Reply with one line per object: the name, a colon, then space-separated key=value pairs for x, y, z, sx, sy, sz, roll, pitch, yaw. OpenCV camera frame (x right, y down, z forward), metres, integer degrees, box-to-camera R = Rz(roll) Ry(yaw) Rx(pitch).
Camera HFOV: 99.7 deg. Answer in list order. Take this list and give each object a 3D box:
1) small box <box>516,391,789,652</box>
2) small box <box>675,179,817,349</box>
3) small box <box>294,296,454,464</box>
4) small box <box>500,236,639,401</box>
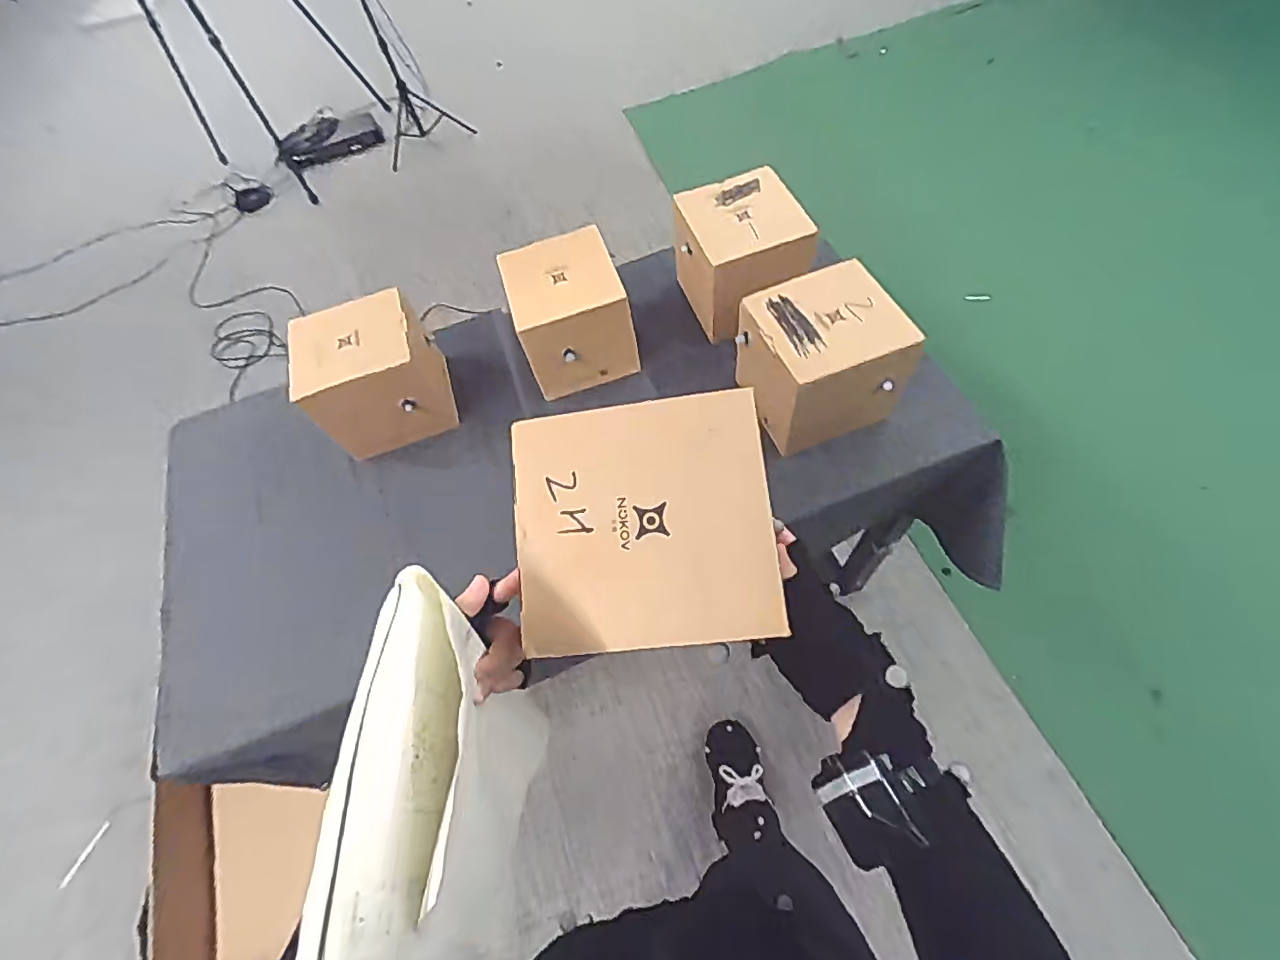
small box: x=0.014 y=0.042 z=0.445 sx=0.179 sy=0.176 sz=0.168 roll=-8 pitch=77 yaw=8
small box: x=0.164 y=-0.349 z=0.887 sx=0.168 sy=0.176 sz=0.179 roll=-19 pitch=60 yaw=-3
small box: x=-0.409 y=-0.152 z=0.855 sx=0.179 sy=0.176 sz=0.168 roll=-19 pitch=60 yaw=-4
small box: x=-0.108 y=-0.249 z=0.873 sx=0.168 sy=0.176 sz=0.179 roll=-19 pitch=60 yaw=-3
